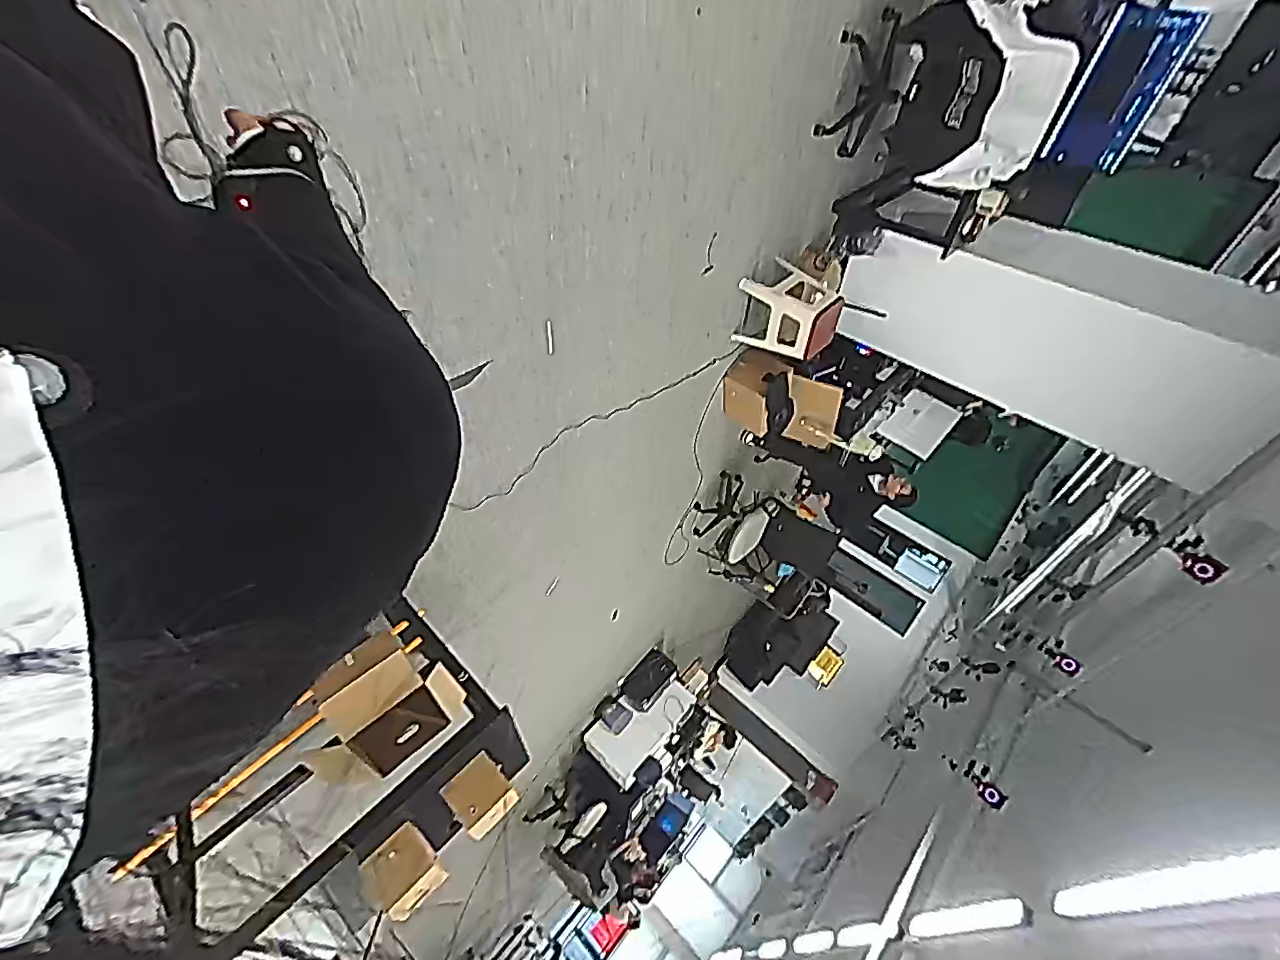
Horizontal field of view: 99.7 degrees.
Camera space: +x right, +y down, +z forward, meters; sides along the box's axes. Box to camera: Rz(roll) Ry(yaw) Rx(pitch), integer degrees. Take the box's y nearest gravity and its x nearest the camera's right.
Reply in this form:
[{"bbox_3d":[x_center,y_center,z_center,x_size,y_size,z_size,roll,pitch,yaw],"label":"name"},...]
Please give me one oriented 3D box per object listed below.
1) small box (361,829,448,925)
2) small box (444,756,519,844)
[{"bbox_3d":[-0.732,1.235,1.688,0.168,0.176,0.179,-38,148,-32],"label":"small box"},{"bbox_3d":[-0.538,1.079,1.827,0.179,0.176,0.168,-38,149,-30],"label":"small box"}]
